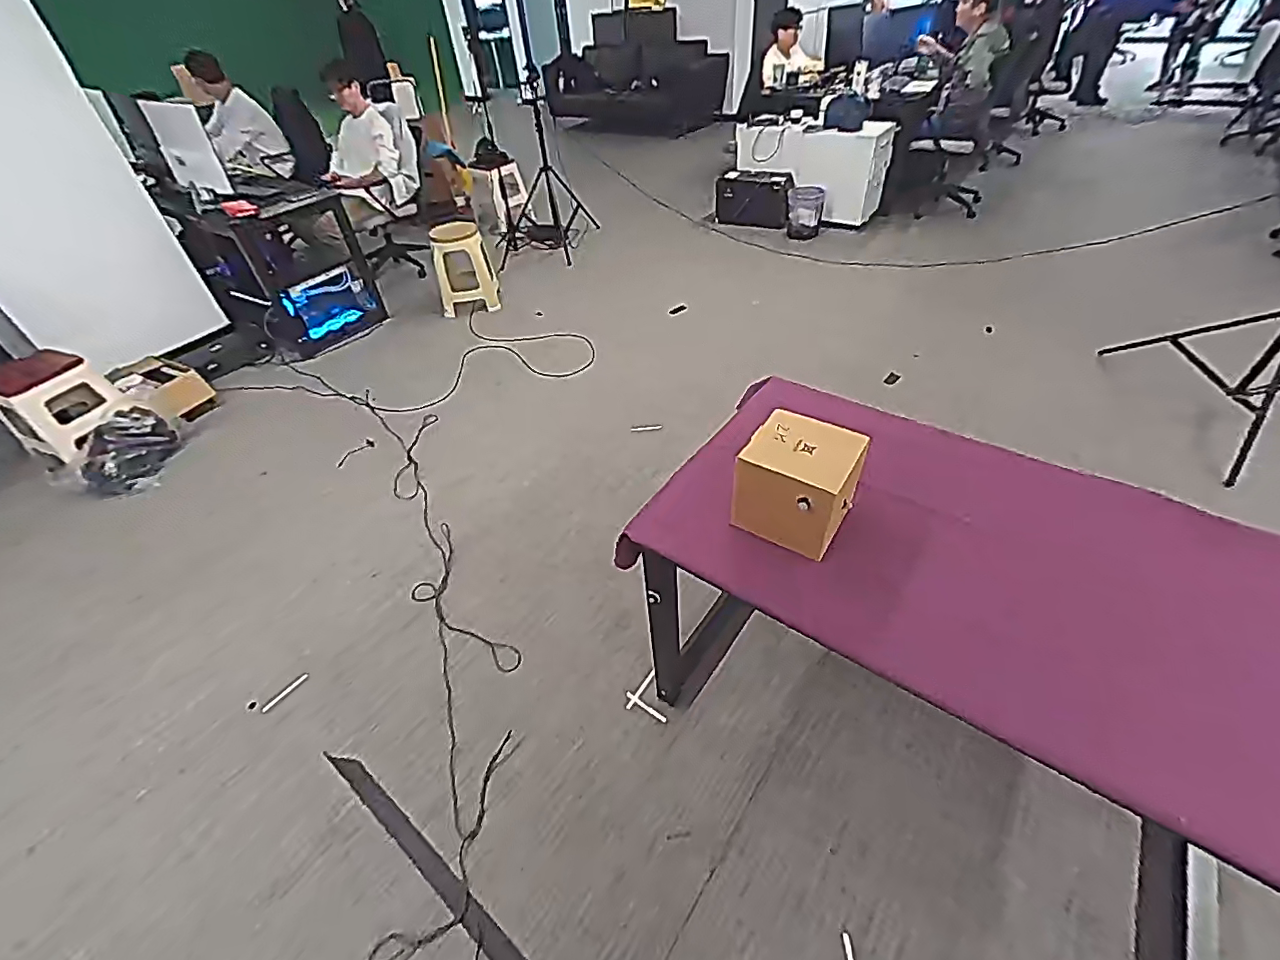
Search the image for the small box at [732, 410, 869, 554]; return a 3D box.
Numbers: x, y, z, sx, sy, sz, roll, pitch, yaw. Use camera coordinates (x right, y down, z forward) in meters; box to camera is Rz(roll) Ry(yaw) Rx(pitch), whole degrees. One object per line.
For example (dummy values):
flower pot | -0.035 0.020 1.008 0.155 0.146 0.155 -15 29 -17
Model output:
small box | 0.281 0.007 0.967 0.179 0.176 0.168 23 48 27
